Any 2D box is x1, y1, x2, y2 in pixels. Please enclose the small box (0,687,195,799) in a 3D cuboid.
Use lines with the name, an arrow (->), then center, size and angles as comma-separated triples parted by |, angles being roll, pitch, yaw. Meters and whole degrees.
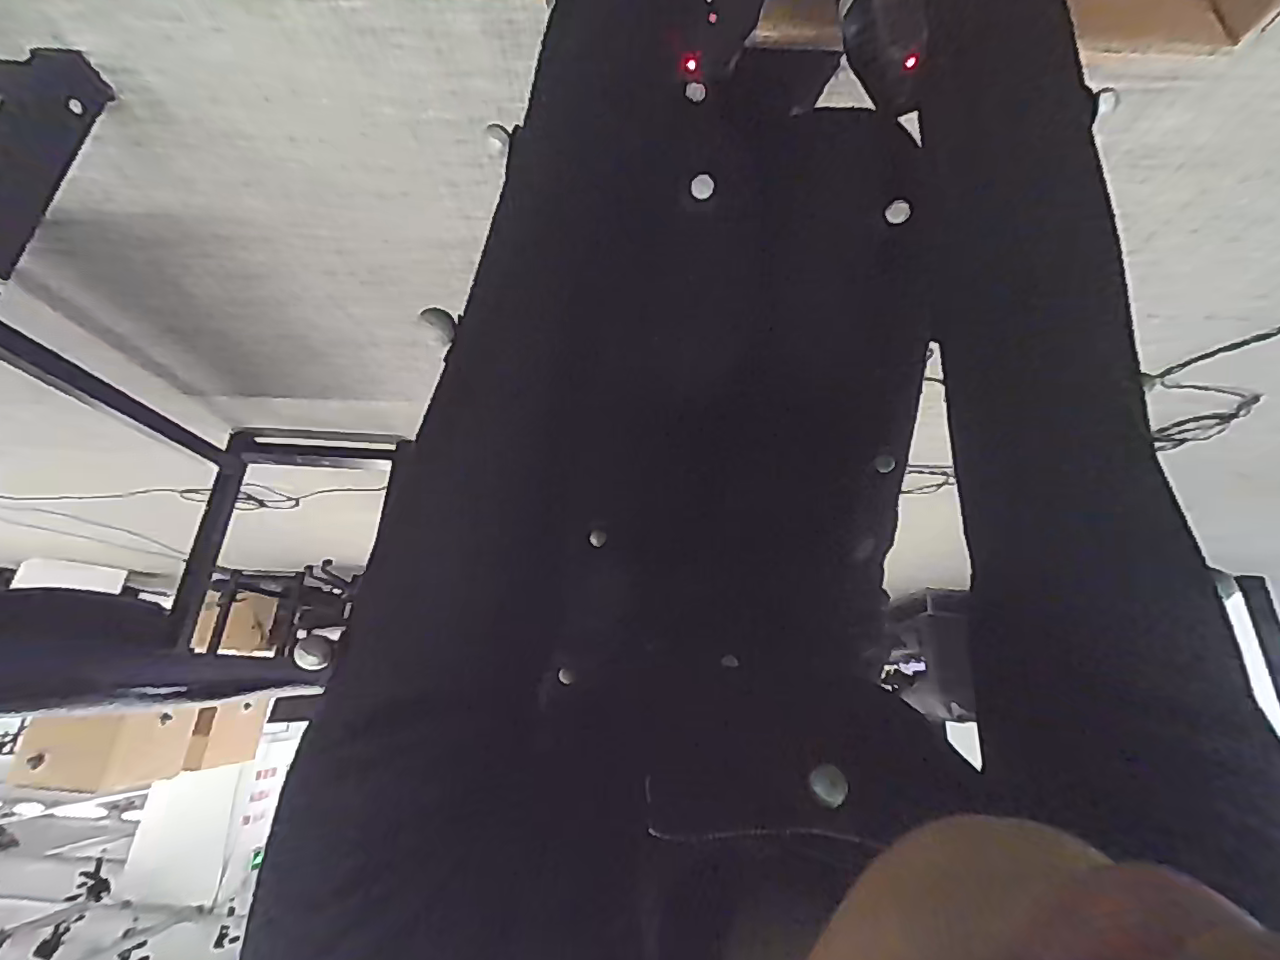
small box -> -0.991, 0.479, 1.006 | 0.179, 0.176, 0.168 | 2, 159, 3
